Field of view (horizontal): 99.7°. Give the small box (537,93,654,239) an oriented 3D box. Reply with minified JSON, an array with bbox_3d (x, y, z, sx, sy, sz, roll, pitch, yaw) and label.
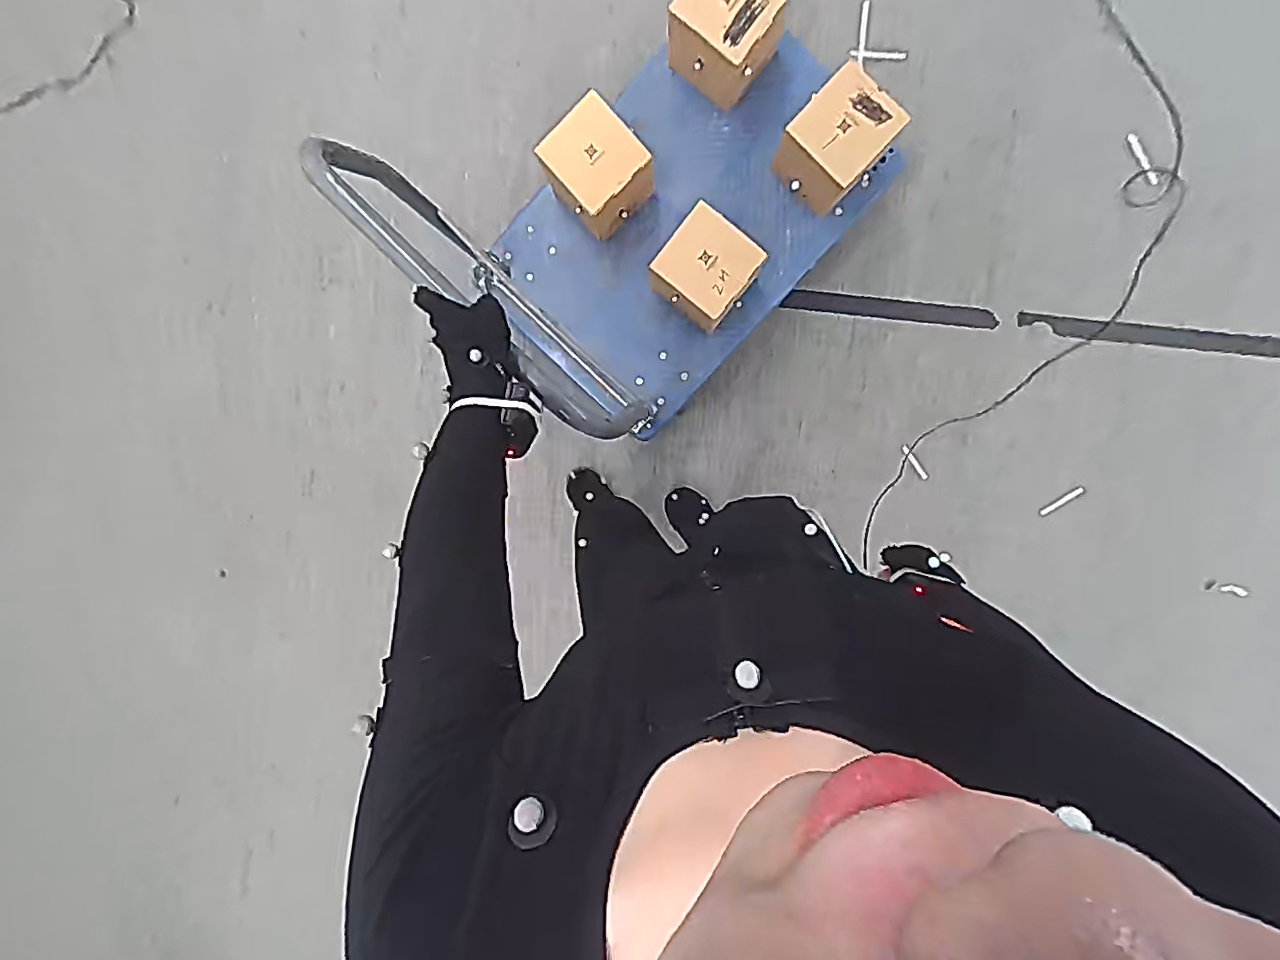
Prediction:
[{"bbox_3d":[-0.088,-0.650,1.146,0.168,0.176,0.179,-43,94,6],"label":"small box"}]

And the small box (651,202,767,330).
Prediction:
[{"bbox_3d":[0.140,-0.442,1.155,0.179,0.176,0.168,39,97,-2],"label":"small box"}]

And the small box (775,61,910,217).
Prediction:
[{"bbox_3d":[0.403,-0.687,1.114,0.168,0.176,0.179,44,98,-2],"label":"small box"}]
